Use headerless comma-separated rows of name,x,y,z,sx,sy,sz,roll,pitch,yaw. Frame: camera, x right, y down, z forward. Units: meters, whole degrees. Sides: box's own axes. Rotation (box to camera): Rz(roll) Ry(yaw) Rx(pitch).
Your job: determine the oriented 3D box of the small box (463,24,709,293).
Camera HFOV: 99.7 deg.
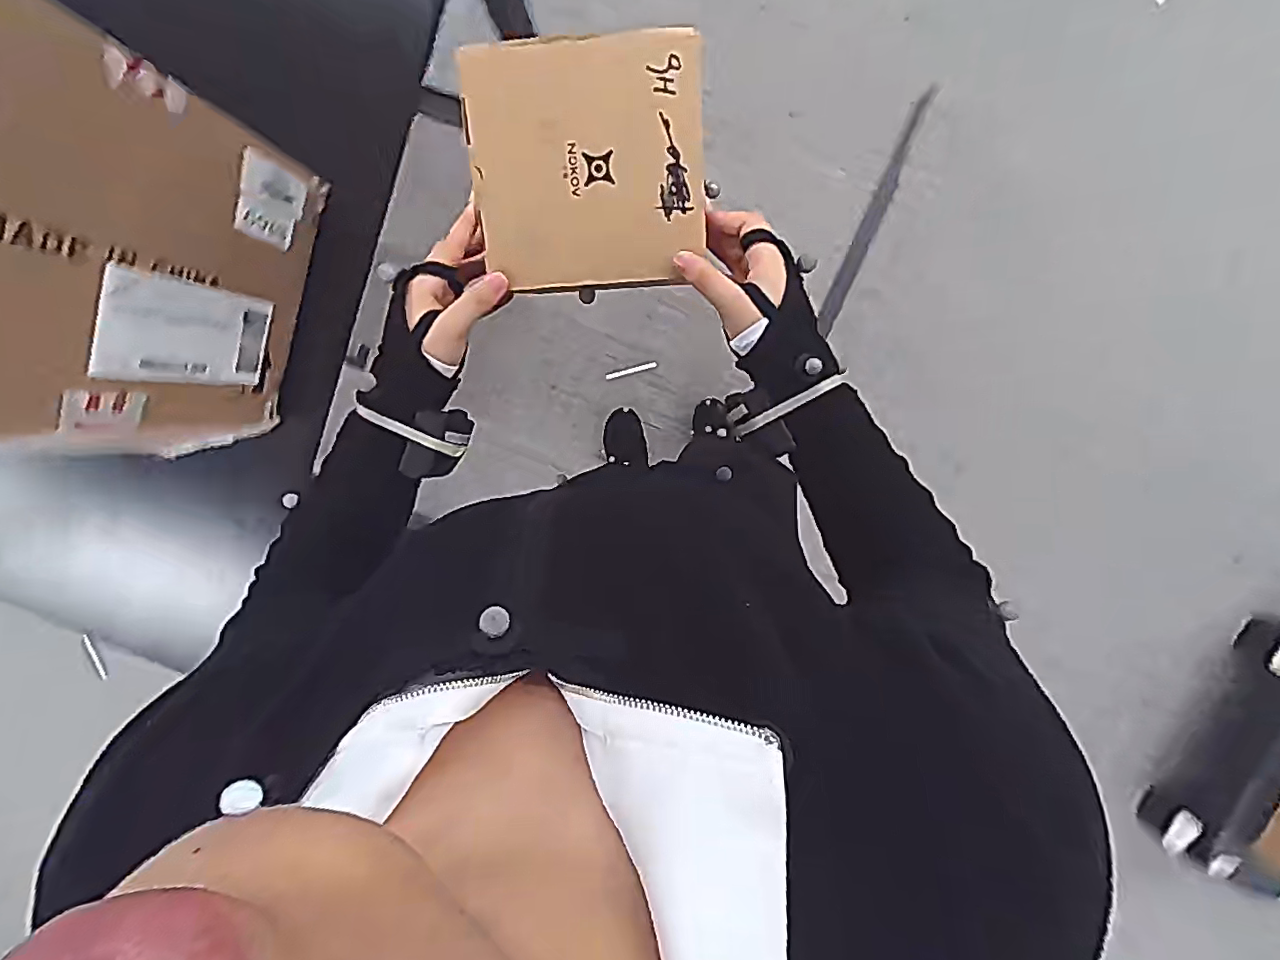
small box,-0.032,-0.256,0.475,0.179,0.176,0.168,-2,108,3
